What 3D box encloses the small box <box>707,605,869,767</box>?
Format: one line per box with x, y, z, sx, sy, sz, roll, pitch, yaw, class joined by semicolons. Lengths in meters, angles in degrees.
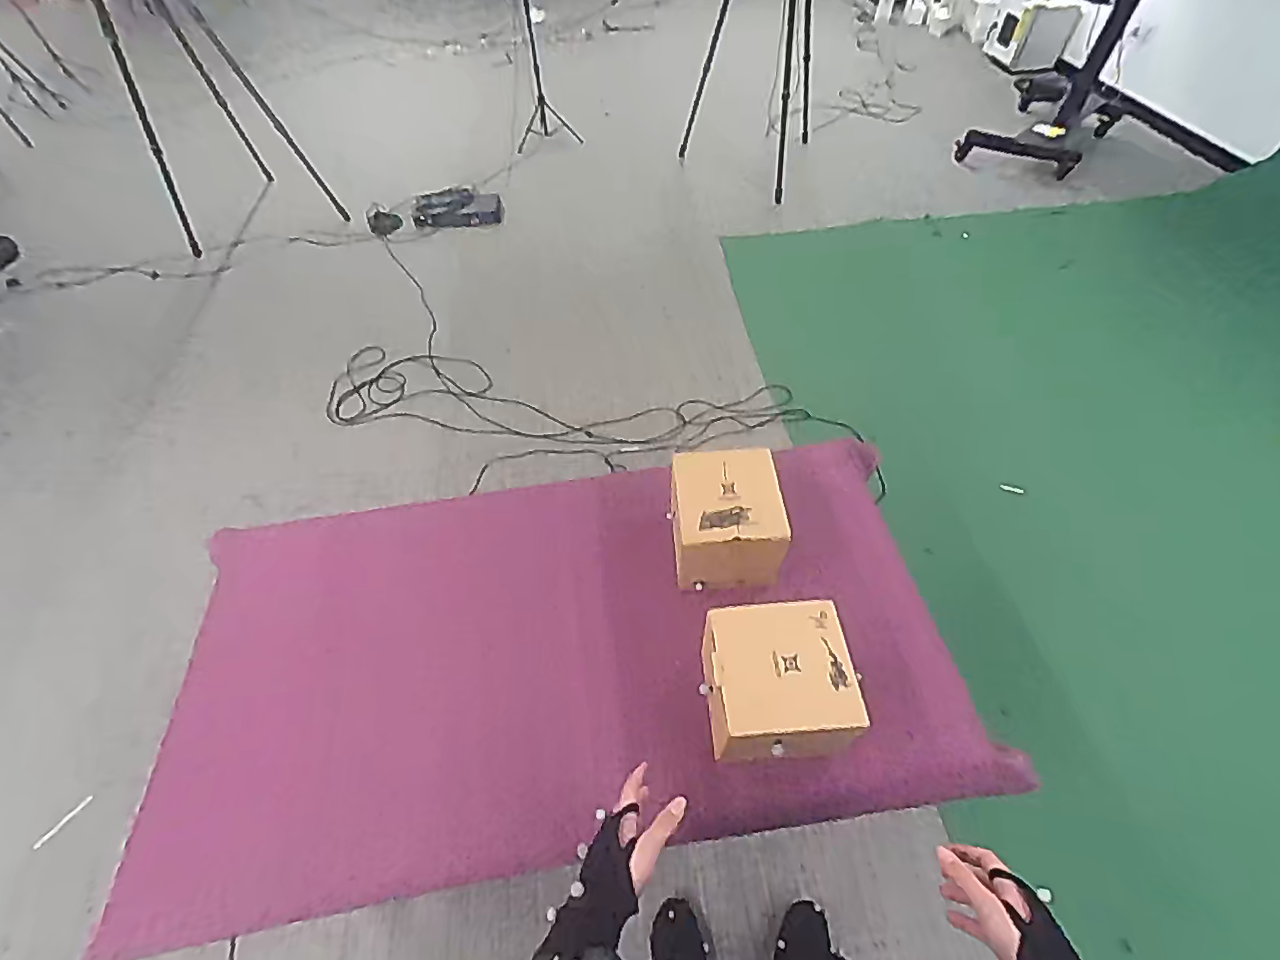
0.188;0.289;0.751;0.179;0.176;0.168;-4;52;1;small box

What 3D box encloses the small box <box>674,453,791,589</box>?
0.146;0.076;0.914;0.168;0.176;0.179;-3;53;0;small box
